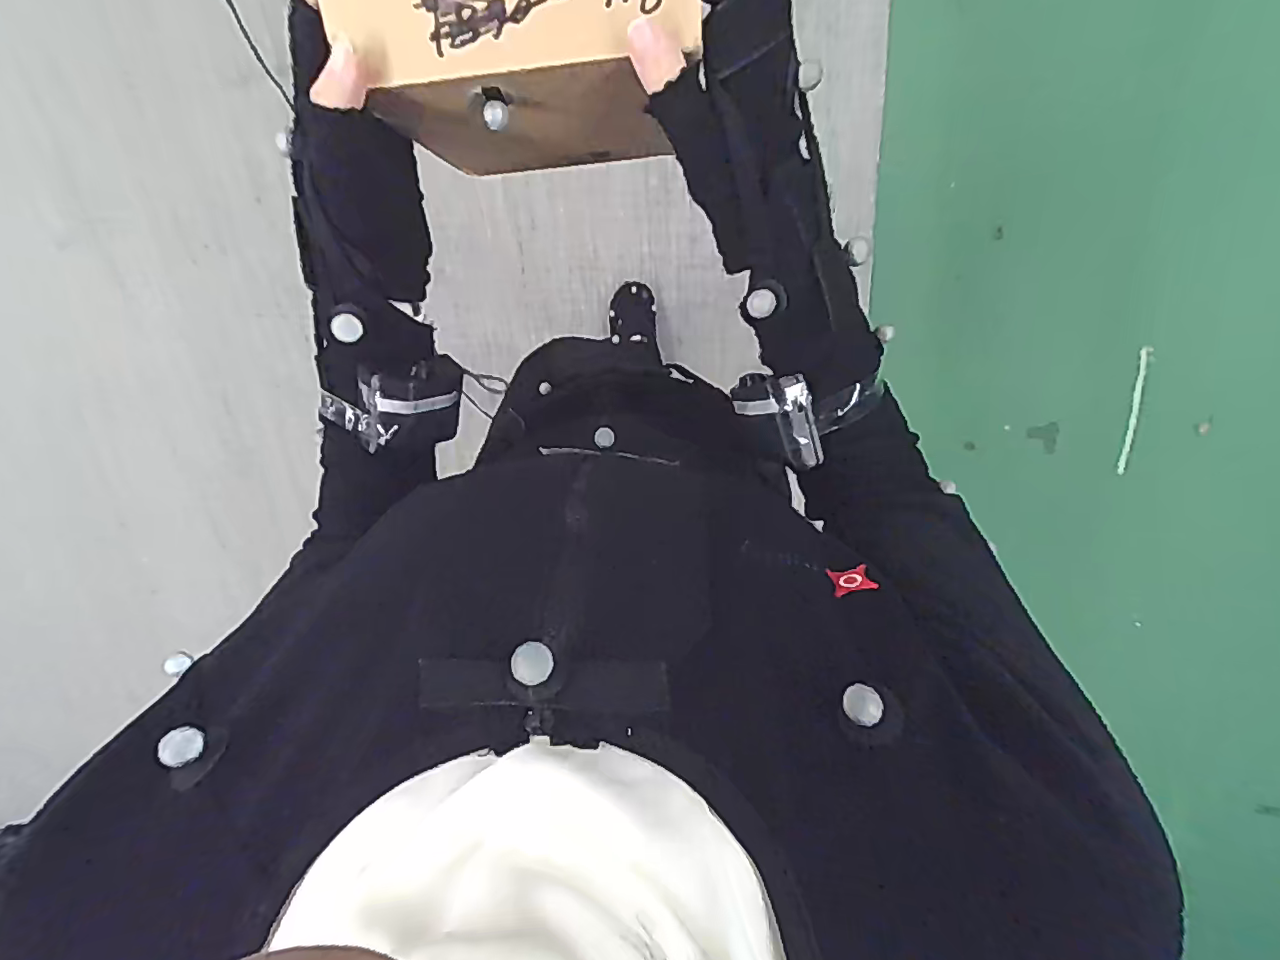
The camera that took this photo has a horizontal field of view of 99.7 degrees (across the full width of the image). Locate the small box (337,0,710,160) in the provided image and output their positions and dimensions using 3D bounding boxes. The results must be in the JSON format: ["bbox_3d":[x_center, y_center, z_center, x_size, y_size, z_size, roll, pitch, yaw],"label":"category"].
[{"bbox_3d":[-0.059,-0.301,0.293,0.168,0.176,0.179,-7,108,3],"label":"small box"}]
